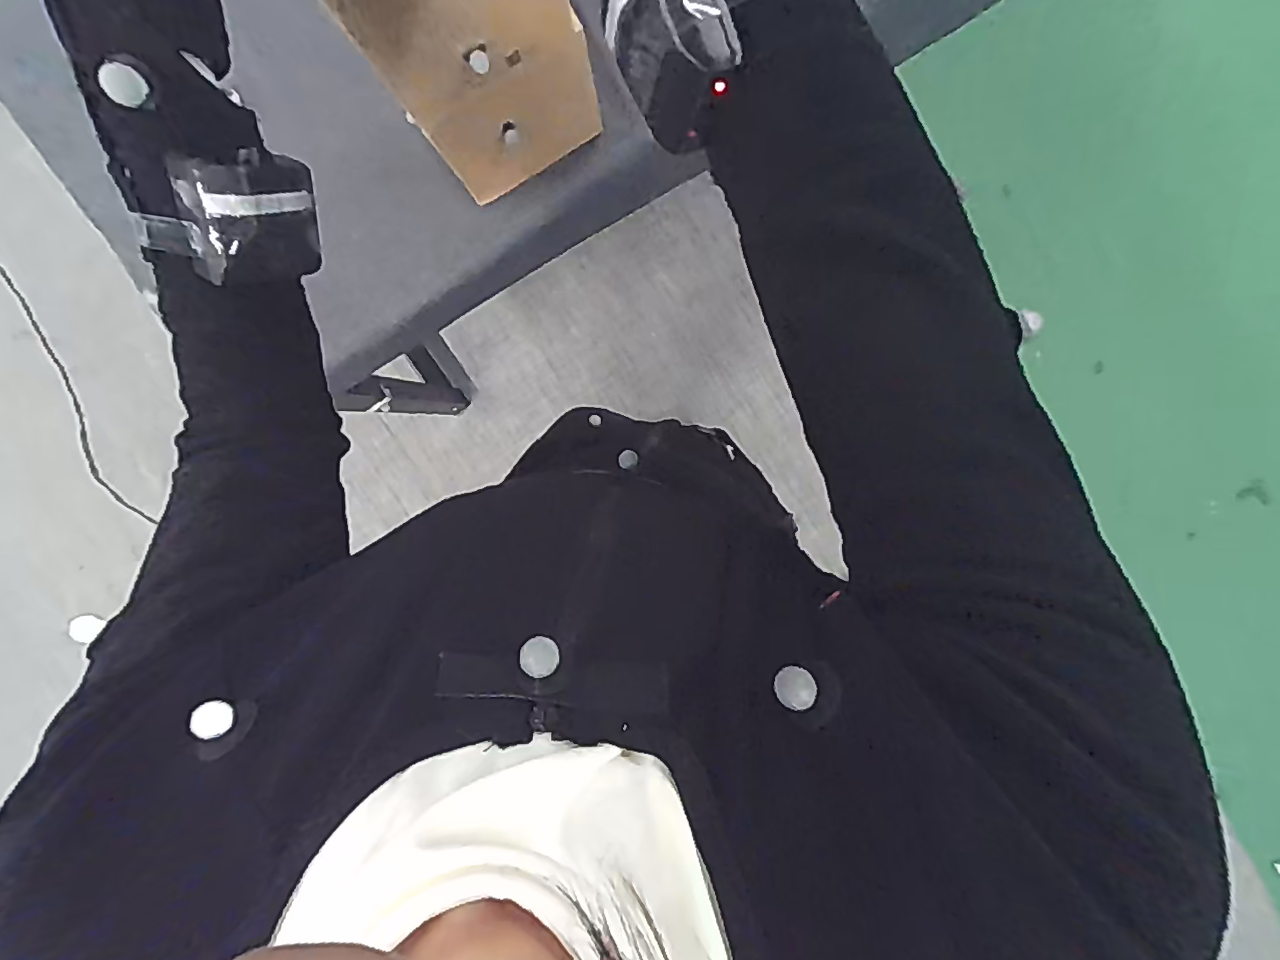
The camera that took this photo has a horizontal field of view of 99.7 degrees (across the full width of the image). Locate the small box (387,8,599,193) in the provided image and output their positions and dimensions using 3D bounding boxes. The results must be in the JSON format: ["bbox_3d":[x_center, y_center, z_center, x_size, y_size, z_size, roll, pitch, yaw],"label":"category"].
[{"bbox_3d":[-0.162,-0.444,0.568,0.179,0.176,0.168,-29,93,6],"label":"small box"}]

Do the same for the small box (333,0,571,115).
[{"bbox_3d":[-0.174,-0.433,0.404,0.168,0.176,0.179,-30,91,6],"label":"small box"}]
